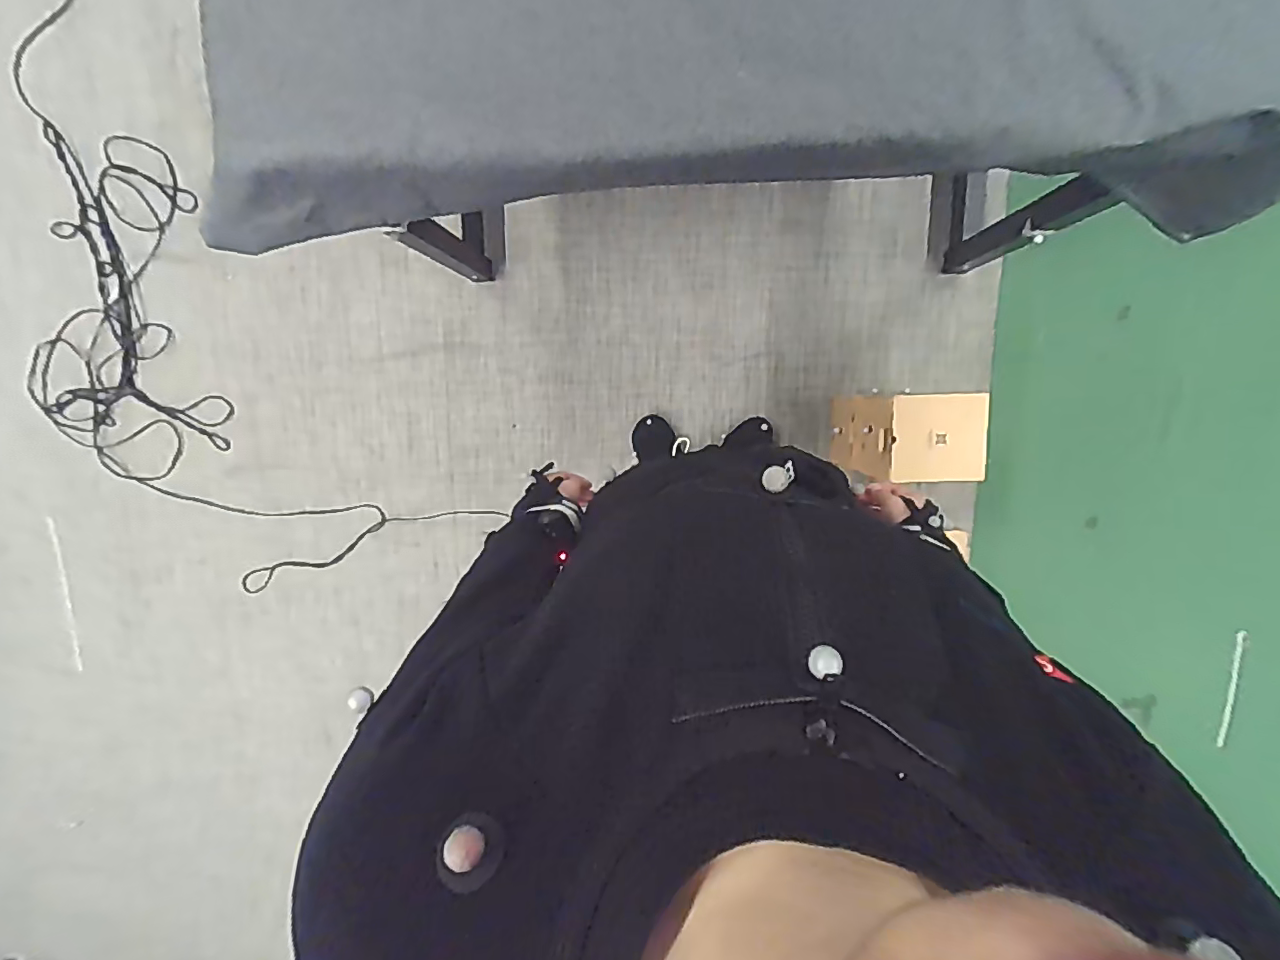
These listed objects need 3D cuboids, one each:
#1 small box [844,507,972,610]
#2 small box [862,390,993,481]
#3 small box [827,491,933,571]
[{"bbox_3d":[0.542,0.154,1.116,0.179,0.176,0.168,5,98,5],"label":"small box"},{"bbox_3d":[0.562,-0.093,1.076,0.179,0.176,0.168,-2,99,5],"label":"small box"},{"bbox_3d":[0.558,0.123,1.277,0.179,0.176,0.168,5,98,6],"label":"small box"}]
